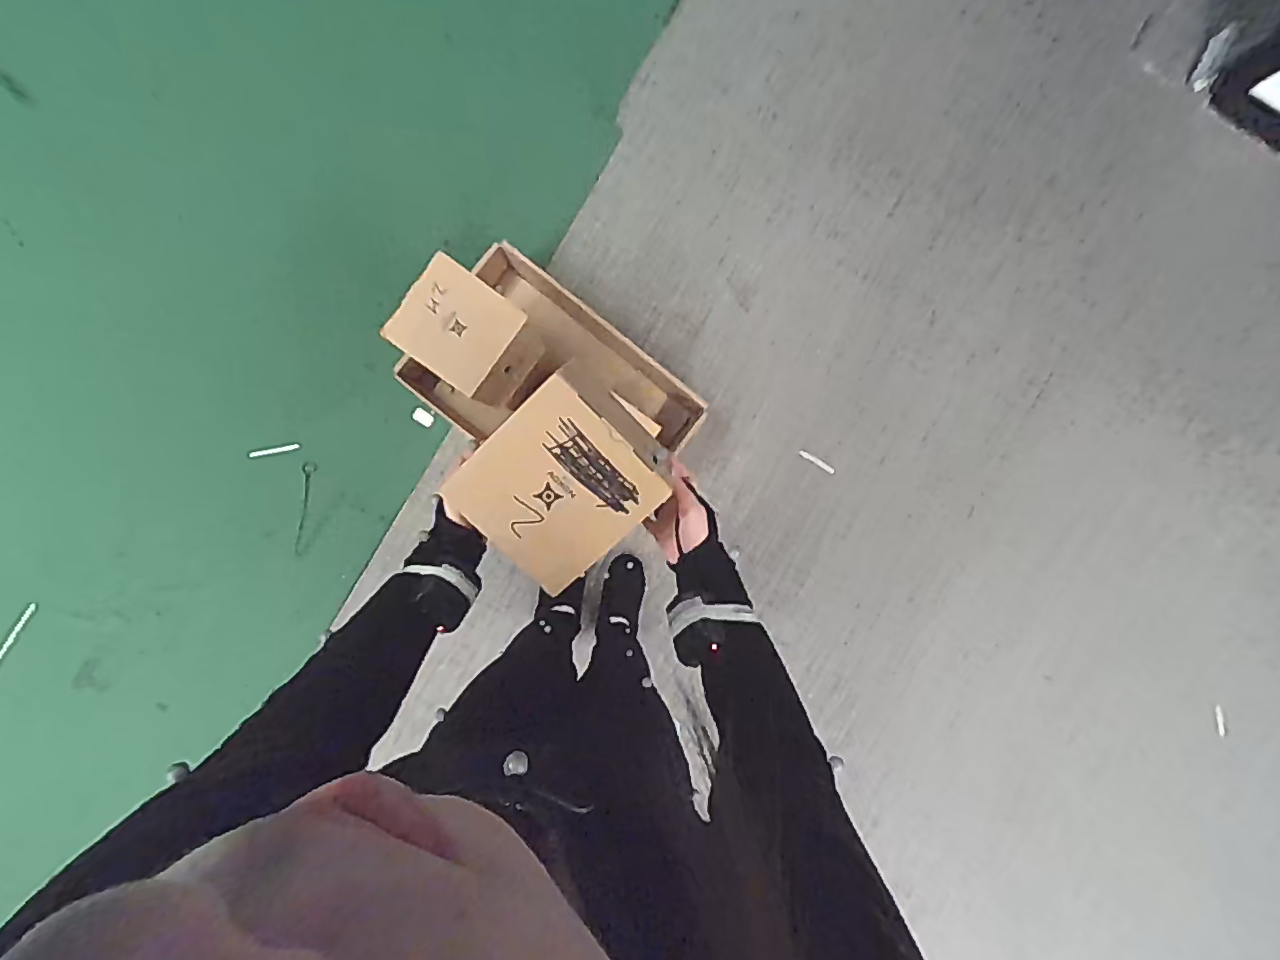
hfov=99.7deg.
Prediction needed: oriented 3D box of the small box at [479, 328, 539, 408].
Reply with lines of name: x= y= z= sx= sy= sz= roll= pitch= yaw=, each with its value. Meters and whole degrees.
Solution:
small box: x=-0.321 y=-0.266 z=1.106 sx=0.168 sy=0.176 sz=0.179 roll=38 pitch=90 yaw=-5

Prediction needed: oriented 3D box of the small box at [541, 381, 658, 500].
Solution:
small box: x=-0.082 y=-0.076 z=1.125 sx=0.168 sy=0.176 sz=0.179 roll=37 pitch=88 yaw=-4

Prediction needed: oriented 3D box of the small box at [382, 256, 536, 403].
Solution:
small box: x=-0.300 y=-0.247 z=0.943 sx=0.179 sy=0.176 sz=0.168 roll=37 pitch=89 yaw=-5
